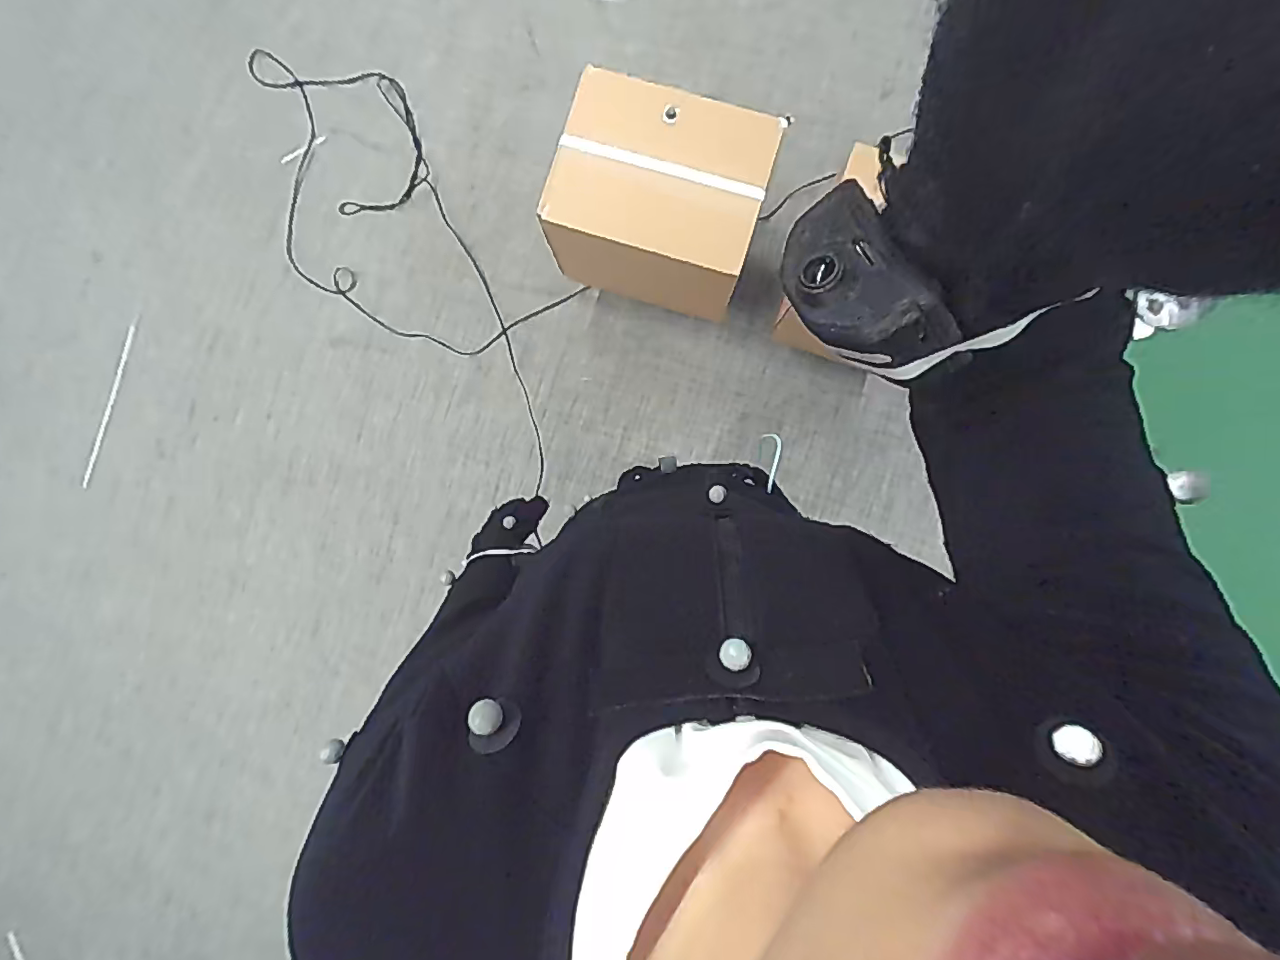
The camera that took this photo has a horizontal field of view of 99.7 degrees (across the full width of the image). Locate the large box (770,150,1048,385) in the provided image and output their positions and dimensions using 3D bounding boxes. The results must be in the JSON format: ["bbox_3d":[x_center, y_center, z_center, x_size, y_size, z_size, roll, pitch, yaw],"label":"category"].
[{"bbox_3d":[0.550,-0.432,1.184,0.408,0.320,0.320,19,90,2],"label":"large box"}]
